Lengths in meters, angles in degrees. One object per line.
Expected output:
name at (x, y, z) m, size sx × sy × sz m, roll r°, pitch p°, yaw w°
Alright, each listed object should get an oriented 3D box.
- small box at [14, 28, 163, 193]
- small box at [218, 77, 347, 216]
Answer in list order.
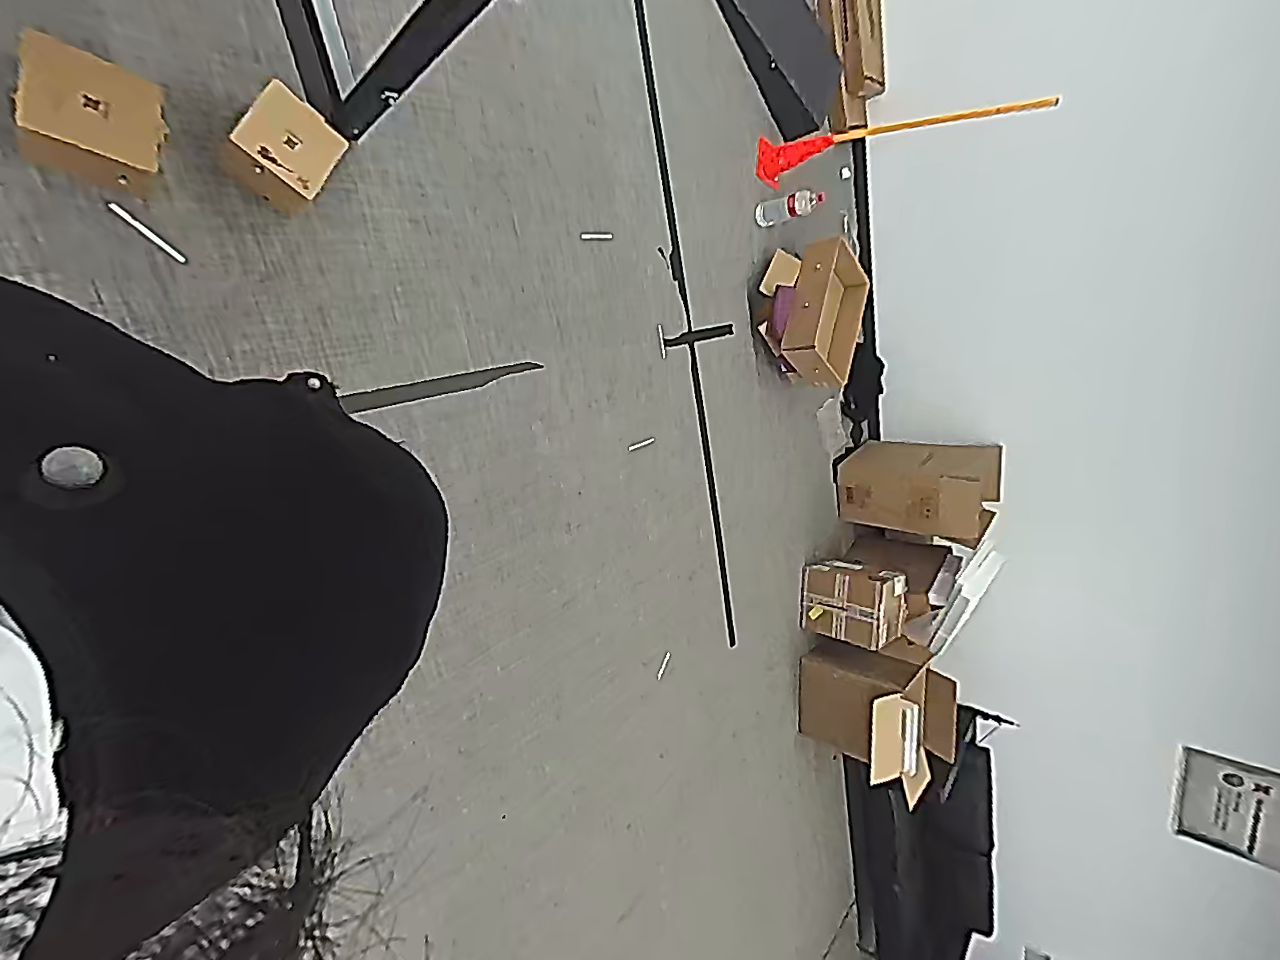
small box at (-1.006, -0.657, 0.993) m, size 0.179 × 0.176 × 0.168 m, roll 4°, pitch 91°, yaw -46°
small box at (-0.797, -0.729, 1.200) m, size 0.168 × 0.176 × 0.179 m, roll 35°, pitch 69°, yaw -42°
